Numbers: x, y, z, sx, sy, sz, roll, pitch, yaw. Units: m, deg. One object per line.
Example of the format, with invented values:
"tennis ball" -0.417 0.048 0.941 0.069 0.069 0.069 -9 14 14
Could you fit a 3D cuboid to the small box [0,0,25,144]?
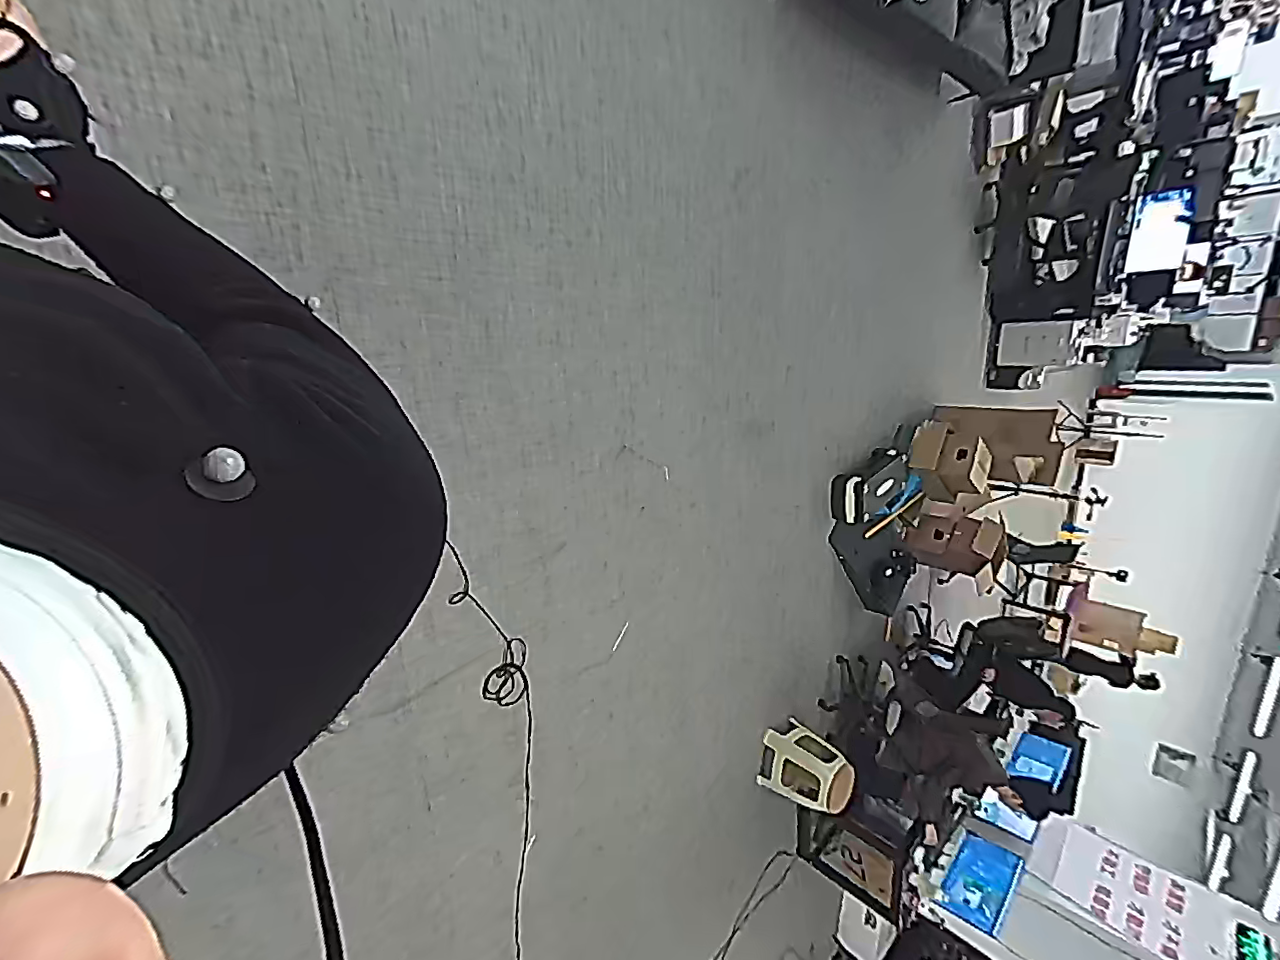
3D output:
"small box" -0.633 -0.392 0.427 0.179 0.176 0.168 -12 105 -42
